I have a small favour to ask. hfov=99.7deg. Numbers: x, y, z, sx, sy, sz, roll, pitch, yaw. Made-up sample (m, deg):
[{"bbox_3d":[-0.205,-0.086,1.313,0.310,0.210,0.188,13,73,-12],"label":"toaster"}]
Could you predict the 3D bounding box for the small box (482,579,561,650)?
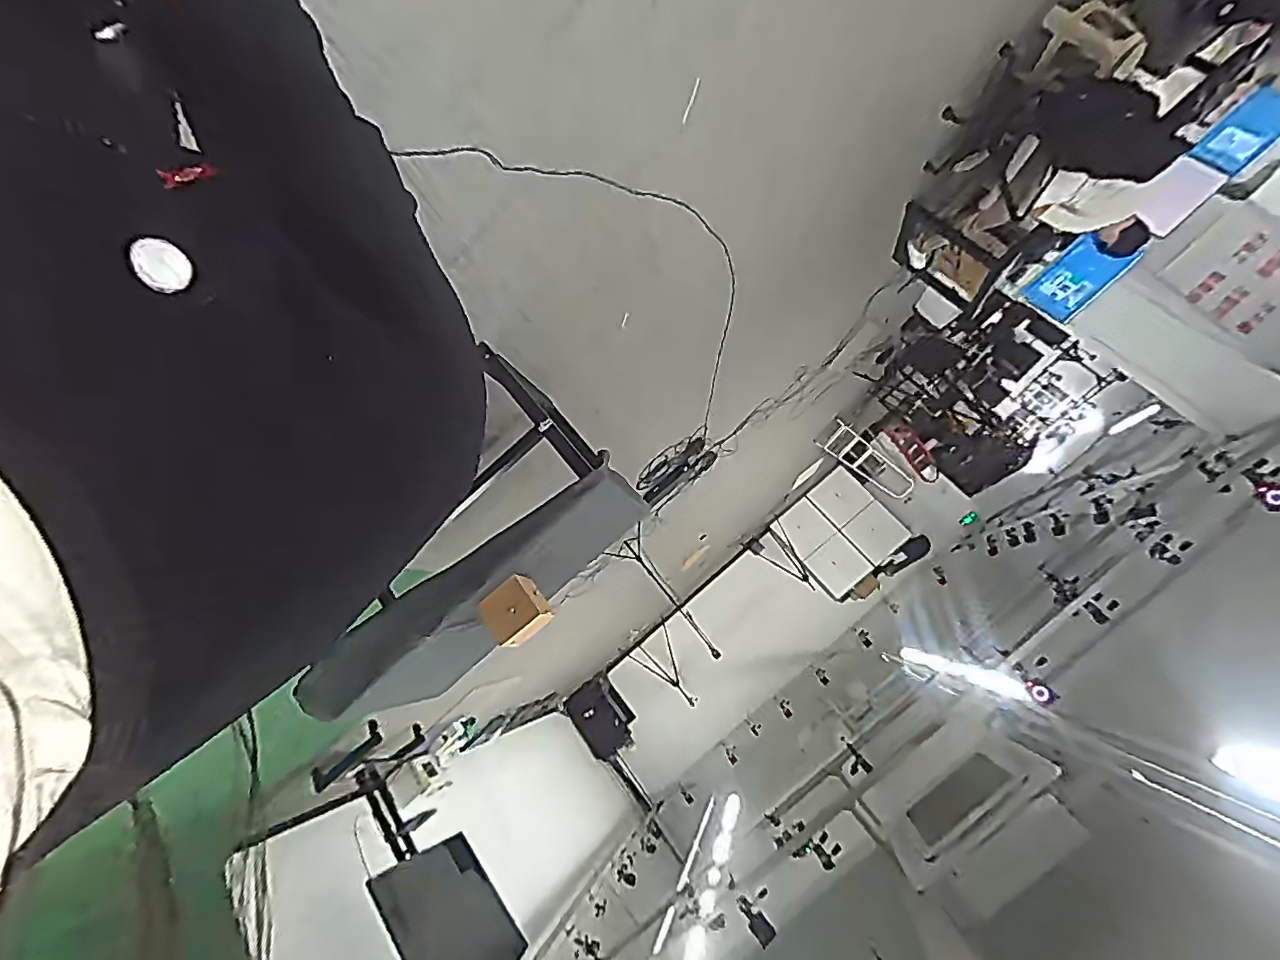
[{"bbox_3d":[-0.407,0.458,1.857,0.179,0.176,0.168,-41,162,0],"label":"small box"}]
